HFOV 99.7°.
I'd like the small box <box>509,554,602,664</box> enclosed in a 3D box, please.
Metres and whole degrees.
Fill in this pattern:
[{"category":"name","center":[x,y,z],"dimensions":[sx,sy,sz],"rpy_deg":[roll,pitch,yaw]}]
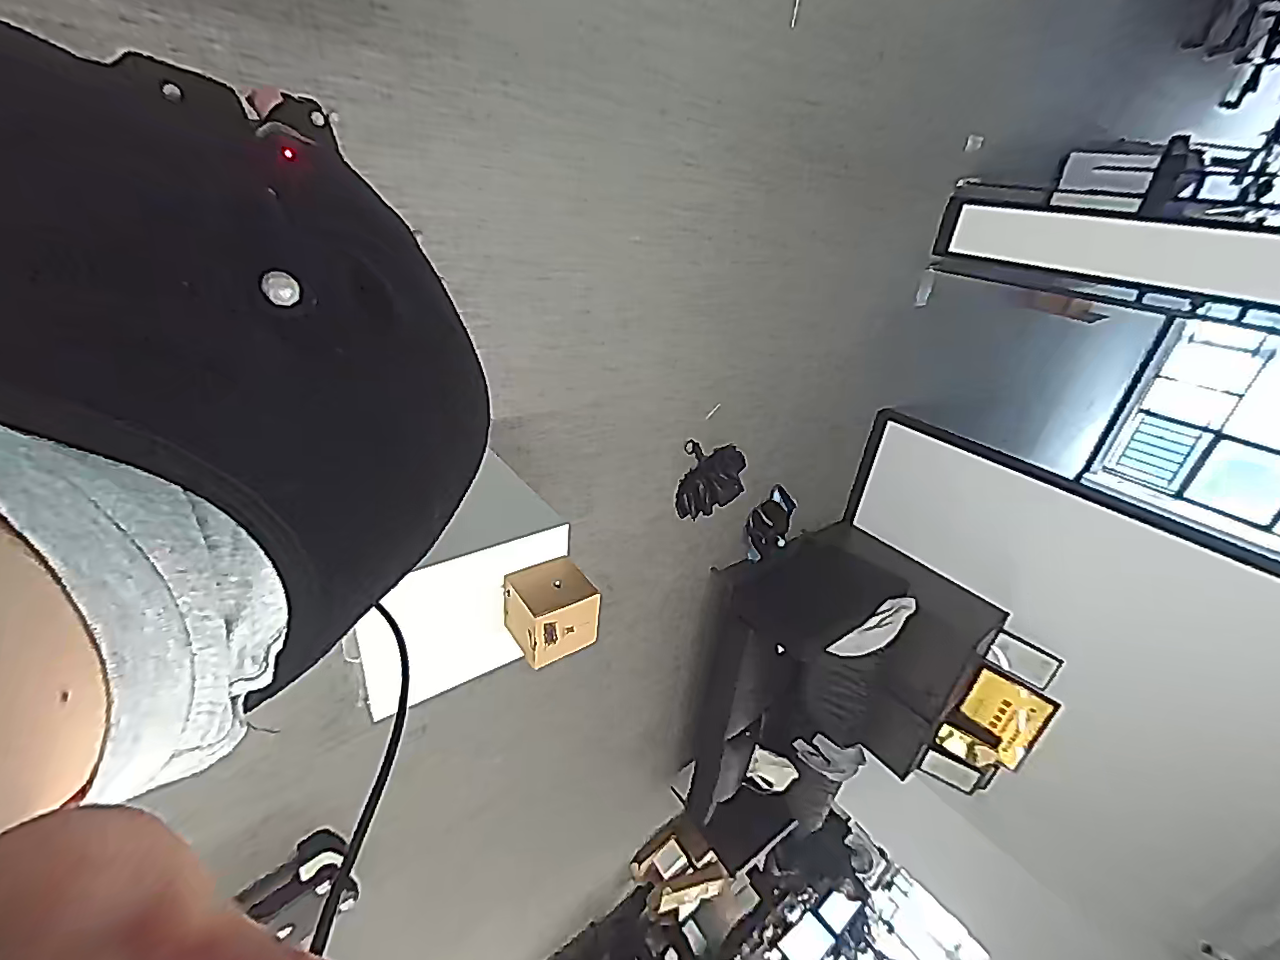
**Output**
[{"category":"small box","center":[-0.215,0.312,1.338],"dimensions":[0.179,0.176,0.168],"rpy_deg":[-16,127,-35]}]
